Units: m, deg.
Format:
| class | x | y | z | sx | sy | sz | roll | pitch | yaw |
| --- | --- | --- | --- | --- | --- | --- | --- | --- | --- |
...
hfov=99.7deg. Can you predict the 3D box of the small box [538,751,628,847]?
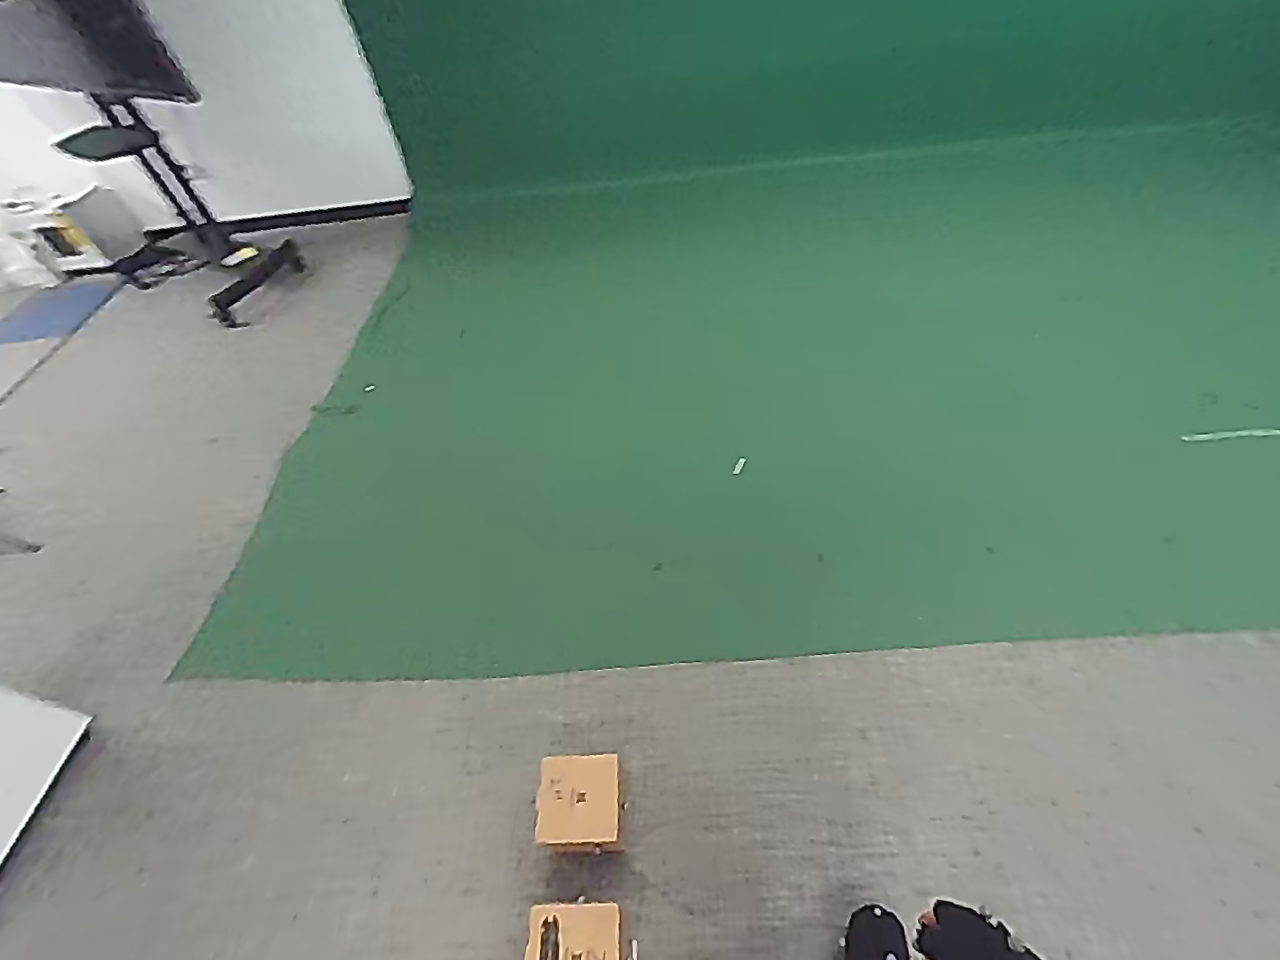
| class | x | y | z | sx | sy | sz | roll | pitch | yaw |
| --- | --- | --- | --- | --- | --- | --- | --- | --- | --- |
| small box | -0.119 | 0.722 | 1.222 | 0.179 | 0.176 | 0.168 | -4 | 50 | 4 |
